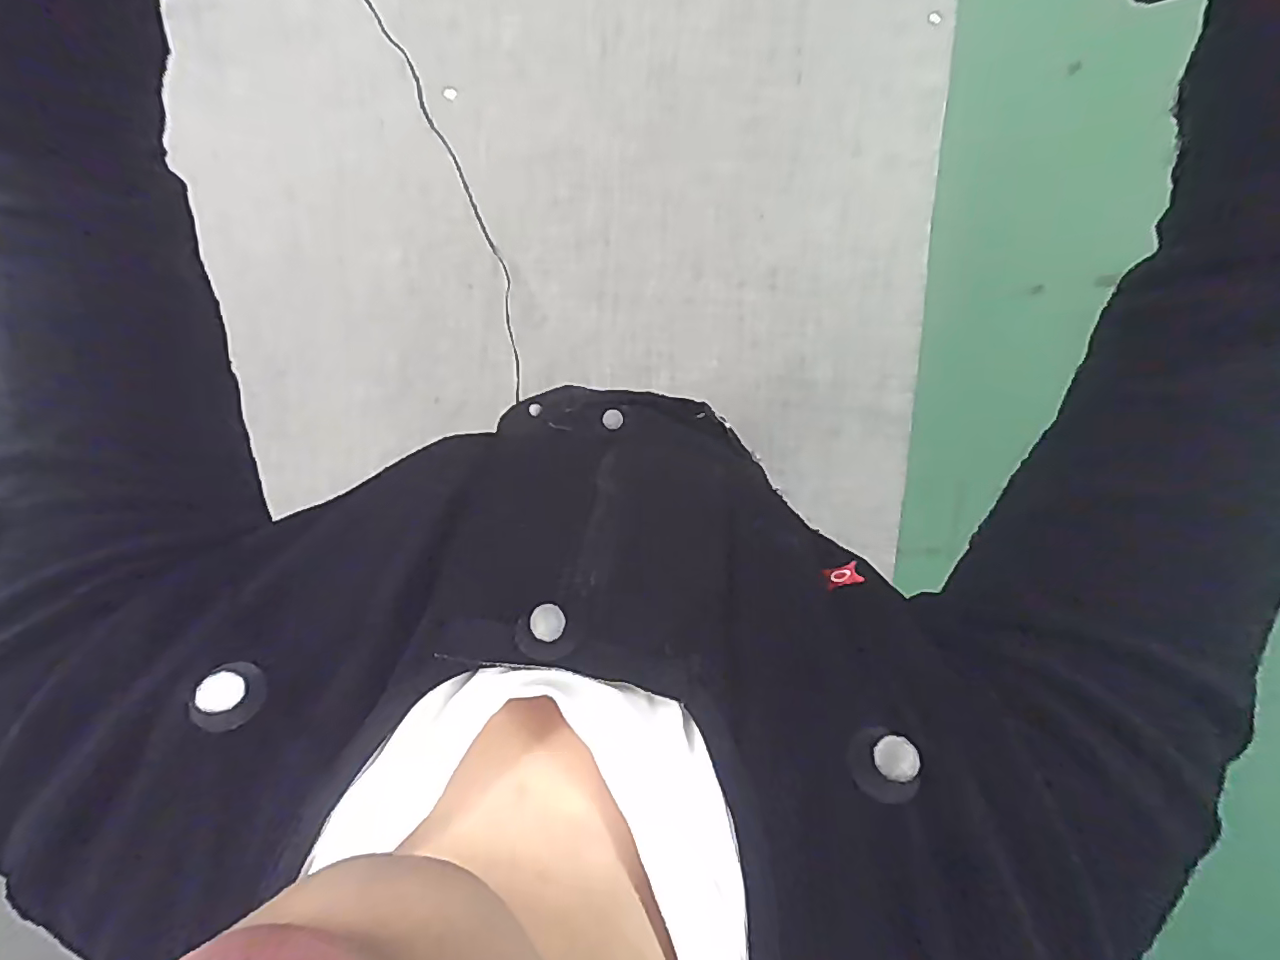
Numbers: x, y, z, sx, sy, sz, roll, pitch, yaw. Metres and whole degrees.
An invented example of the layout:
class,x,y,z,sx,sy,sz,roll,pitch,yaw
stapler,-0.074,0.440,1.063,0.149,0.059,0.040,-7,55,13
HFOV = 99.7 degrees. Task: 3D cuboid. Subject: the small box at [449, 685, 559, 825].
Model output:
class,x,y,z,sx,sy,sz,roll,pitch,yaw
small box,-0.258,0.523,1.051,0.168,0.176,0.179,4,100,4
